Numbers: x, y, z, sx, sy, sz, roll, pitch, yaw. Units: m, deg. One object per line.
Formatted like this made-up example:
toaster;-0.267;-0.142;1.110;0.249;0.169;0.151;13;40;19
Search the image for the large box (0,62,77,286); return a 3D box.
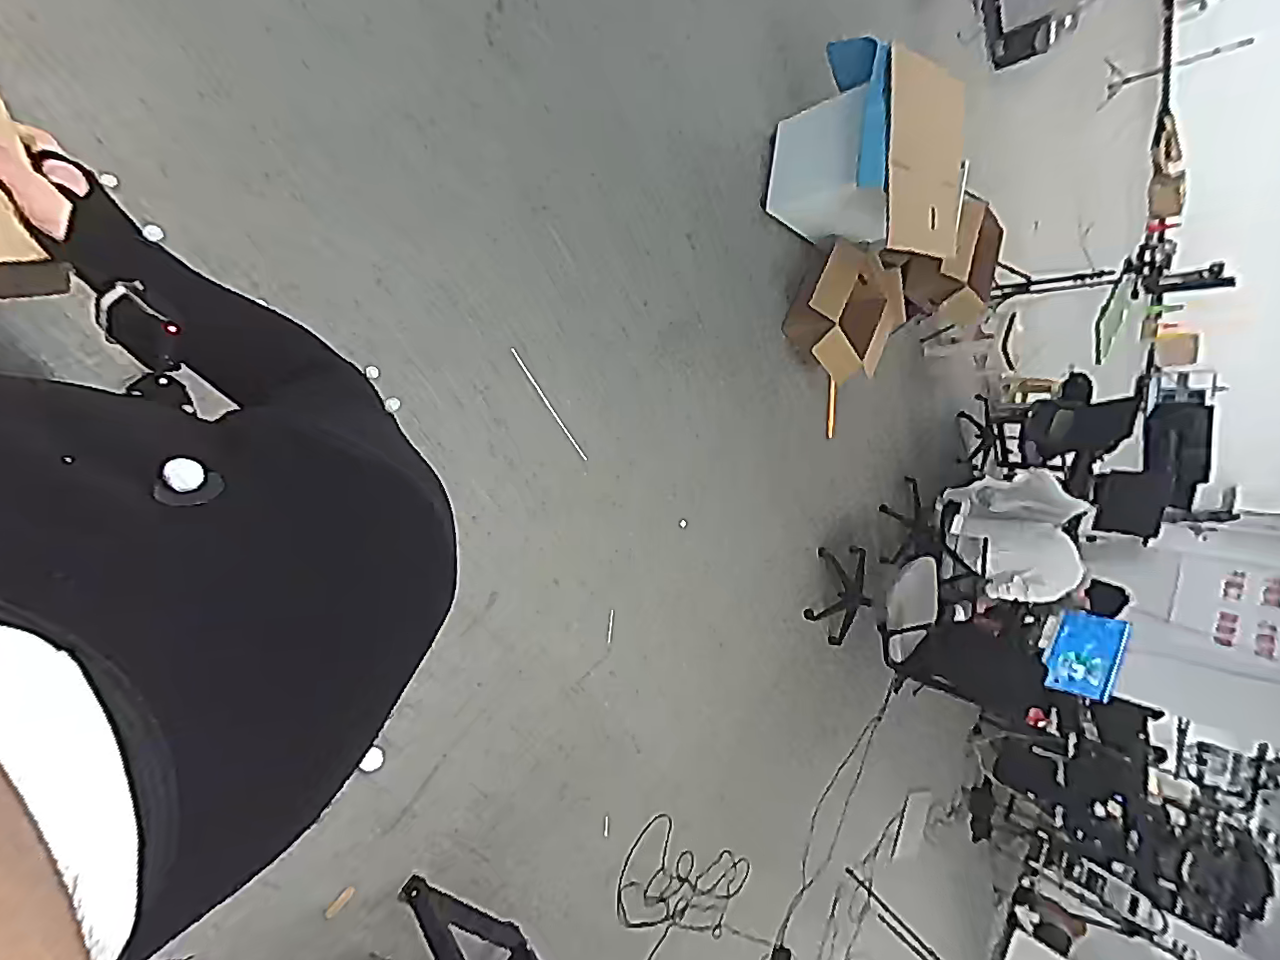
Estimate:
large box;-0.791;-0.315;0.428;0.408;0.320;0.320;-27;118;-42
